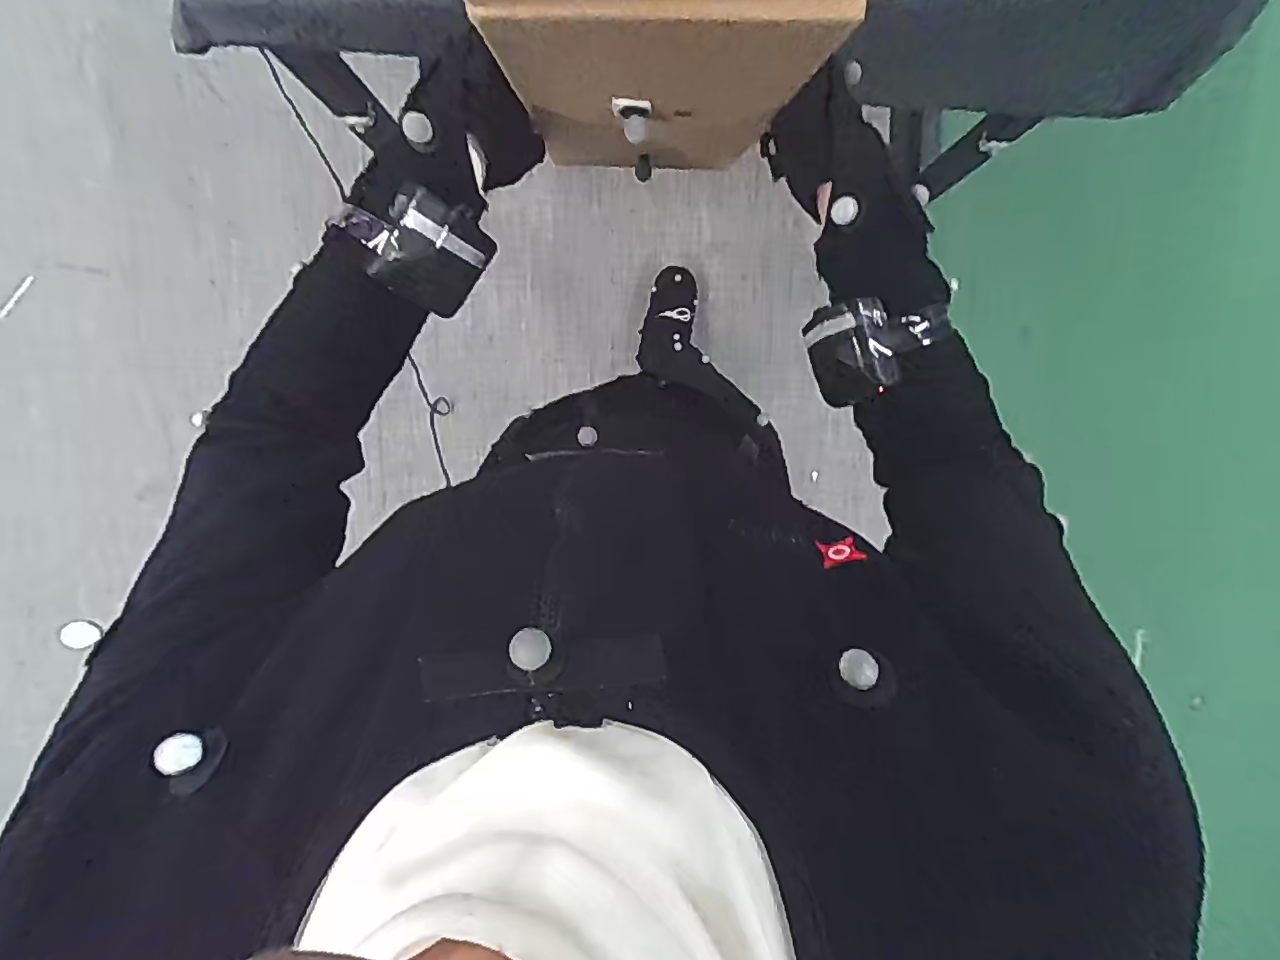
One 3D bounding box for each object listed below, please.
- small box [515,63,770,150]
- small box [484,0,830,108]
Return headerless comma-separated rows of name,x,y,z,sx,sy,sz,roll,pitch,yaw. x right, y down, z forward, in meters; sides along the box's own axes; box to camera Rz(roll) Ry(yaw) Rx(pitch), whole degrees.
small box,0.002,-0.368,0.416,0.179,0.176,0.168,1,110,-2
small box,0.002,-0.310,0.263,0.168,0.176,0.179,1,111,-1
